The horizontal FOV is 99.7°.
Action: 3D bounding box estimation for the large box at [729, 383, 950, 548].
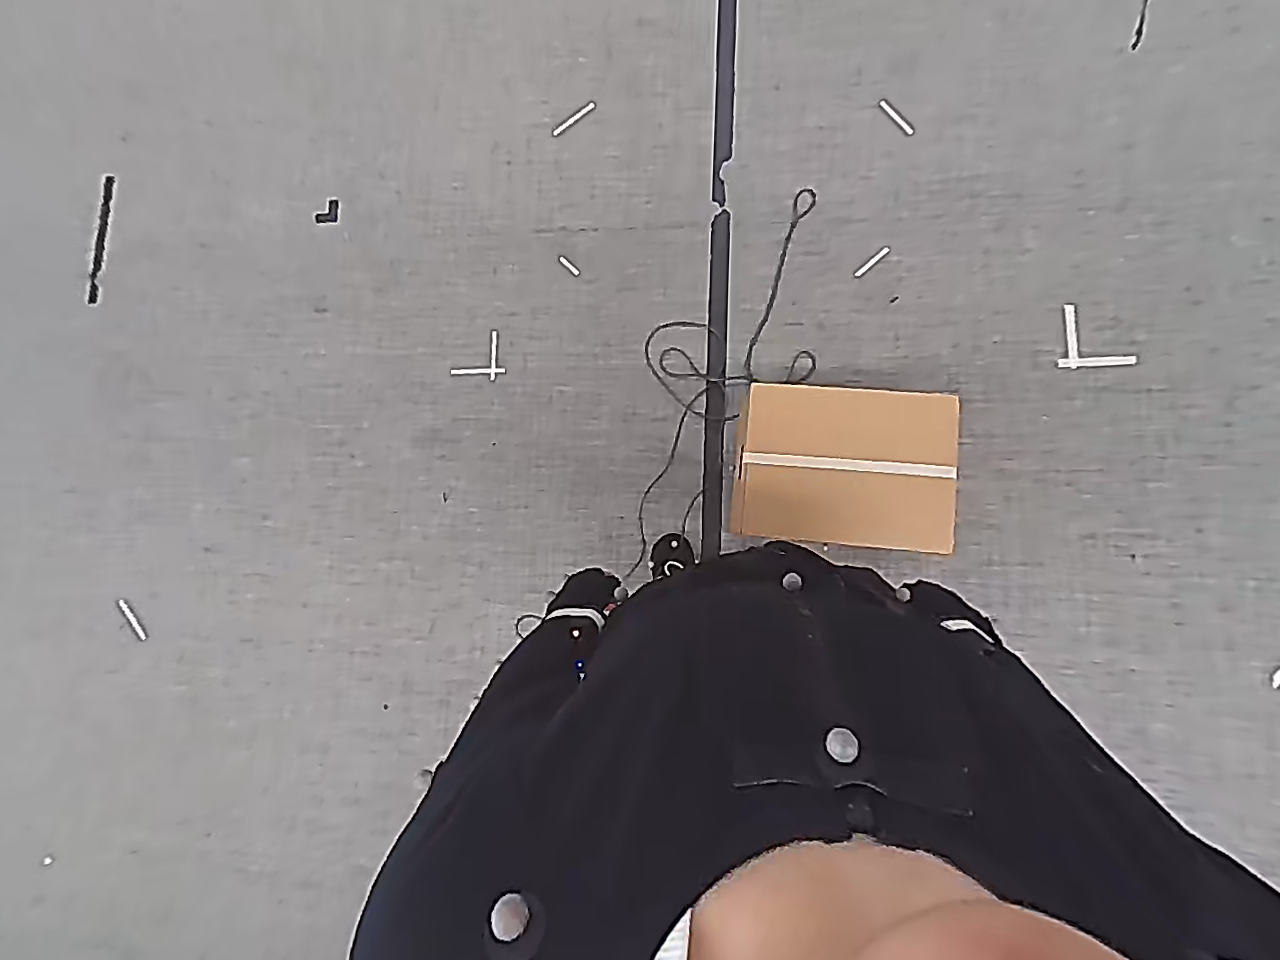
[{"bbox_3d":[0.418,-0.020,1.225,0.408,0.320,0.320,5,86,6],"label":"large box"}]
